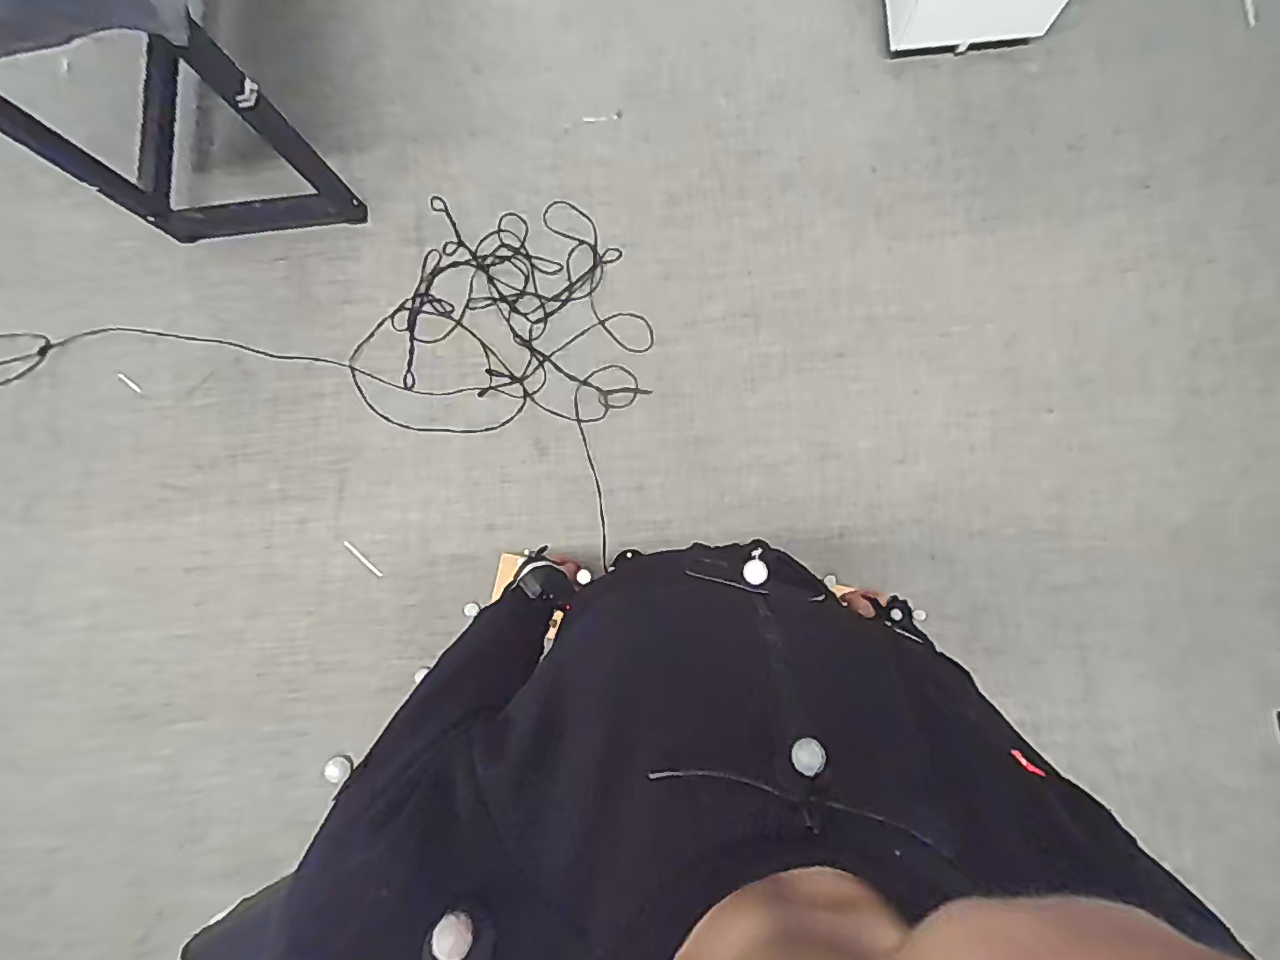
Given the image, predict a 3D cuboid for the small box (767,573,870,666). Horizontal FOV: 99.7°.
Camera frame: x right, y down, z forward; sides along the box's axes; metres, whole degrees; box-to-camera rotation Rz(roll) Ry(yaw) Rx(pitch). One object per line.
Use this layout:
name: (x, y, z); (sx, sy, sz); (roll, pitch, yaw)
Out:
small box: (0.408, 0.315, 1.258); (0.179, 0.176, 0.168); (11, 84, 6)
